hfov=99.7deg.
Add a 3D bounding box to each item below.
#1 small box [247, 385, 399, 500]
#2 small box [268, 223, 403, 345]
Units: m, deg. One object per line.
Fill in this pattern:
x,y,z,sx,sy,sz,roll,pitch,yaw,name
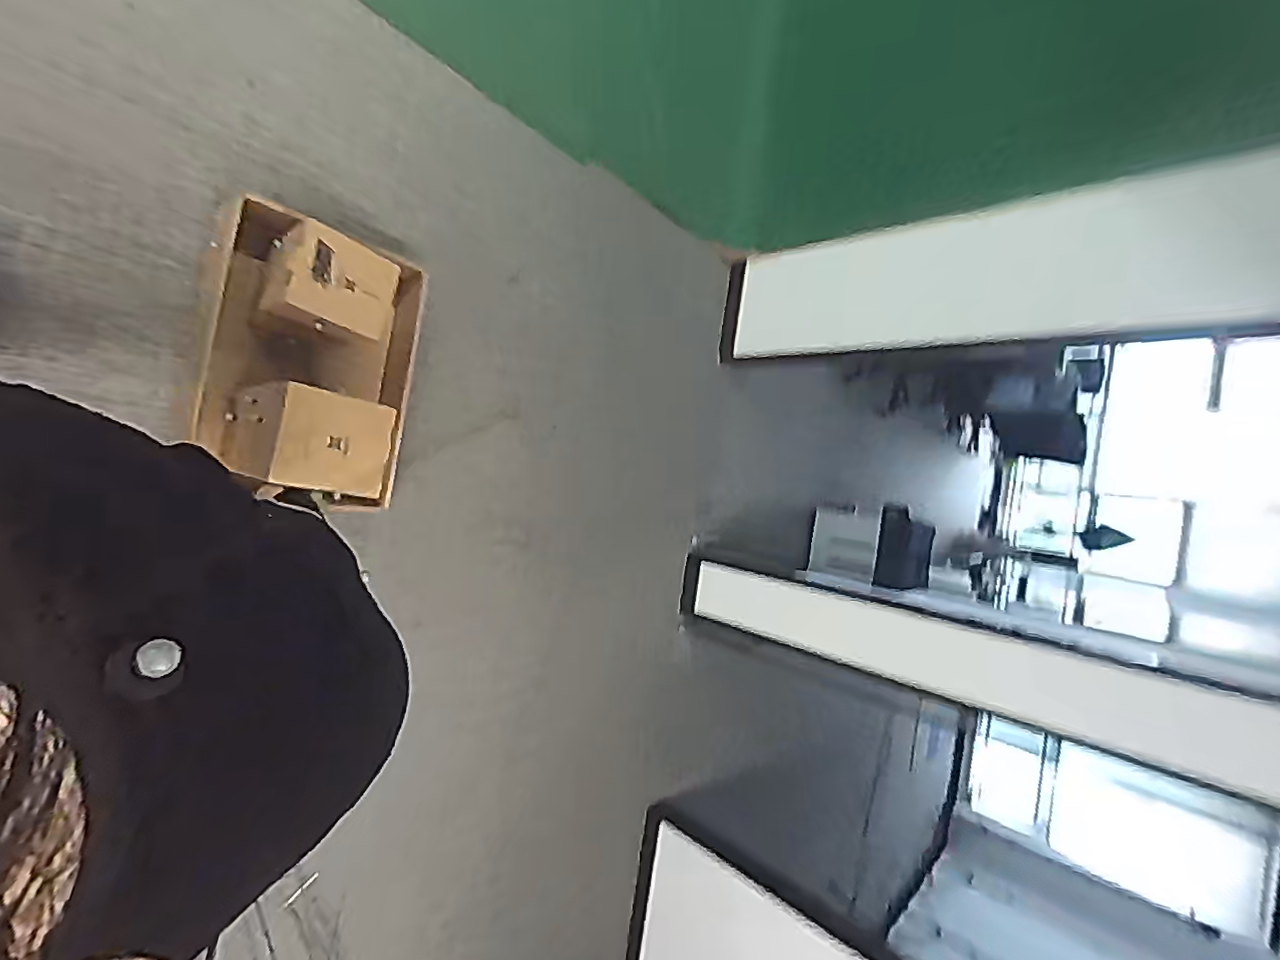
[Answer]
-0.569,-0.067,0.972,0.179,0.176,0.168,15,84,-47,small box
-0.623,-0.384,1.101,0.179,0.176,0.168,20,82,-48,small box
